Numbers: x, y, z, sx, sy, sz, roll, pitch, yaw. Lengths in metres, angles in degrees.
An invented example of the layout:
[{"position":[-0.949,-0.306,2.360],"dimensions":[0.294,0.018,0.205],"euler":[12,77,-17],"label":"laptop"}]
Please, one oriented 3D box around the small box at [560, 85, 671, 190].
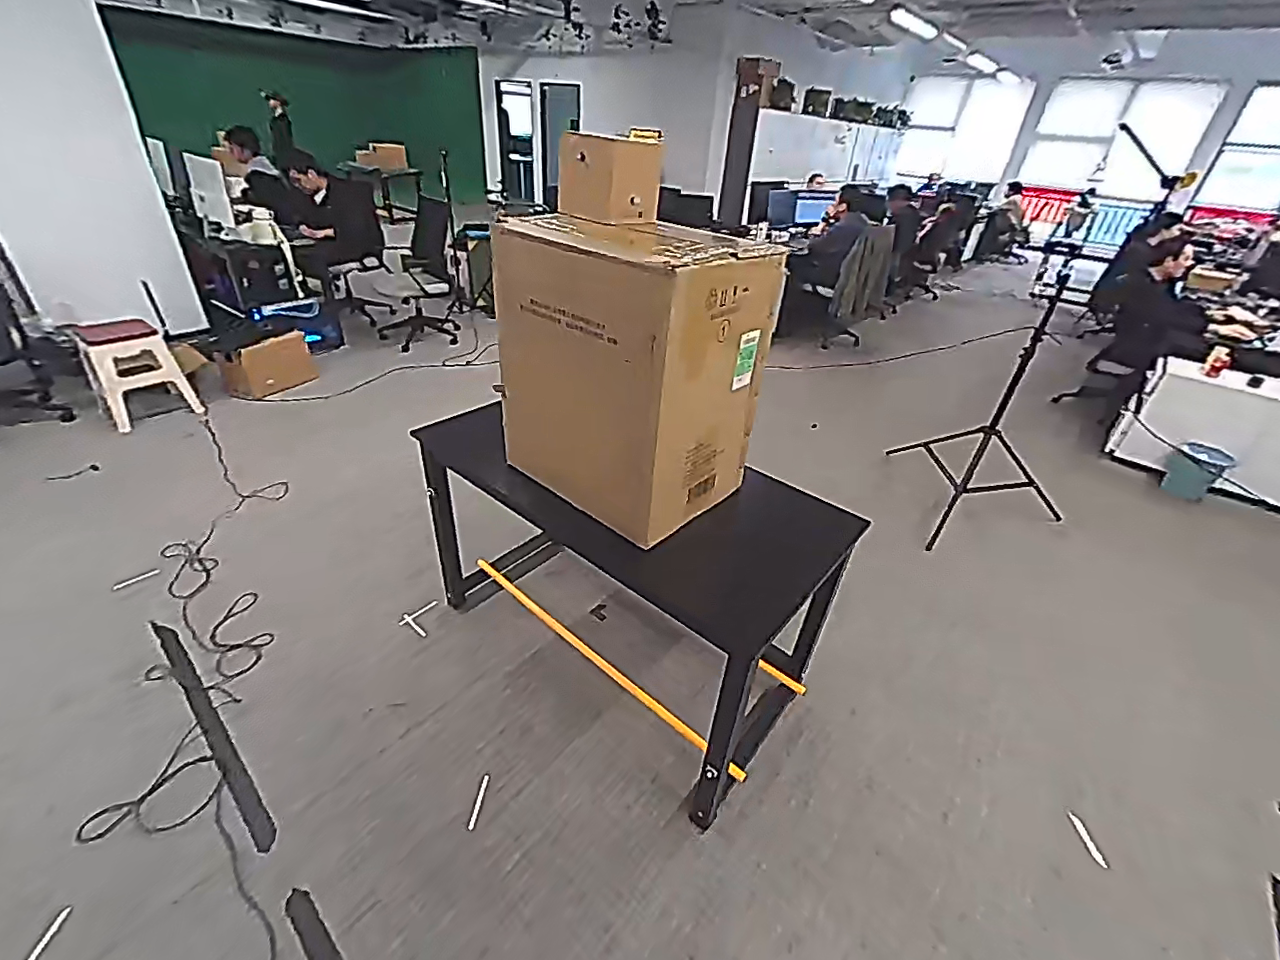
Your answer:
[{"position":[-0.060,-0.740,1.176],"dimensions":[0.179,0.176,0.168],"euler":[30,39,31],"label":"small box"}]
